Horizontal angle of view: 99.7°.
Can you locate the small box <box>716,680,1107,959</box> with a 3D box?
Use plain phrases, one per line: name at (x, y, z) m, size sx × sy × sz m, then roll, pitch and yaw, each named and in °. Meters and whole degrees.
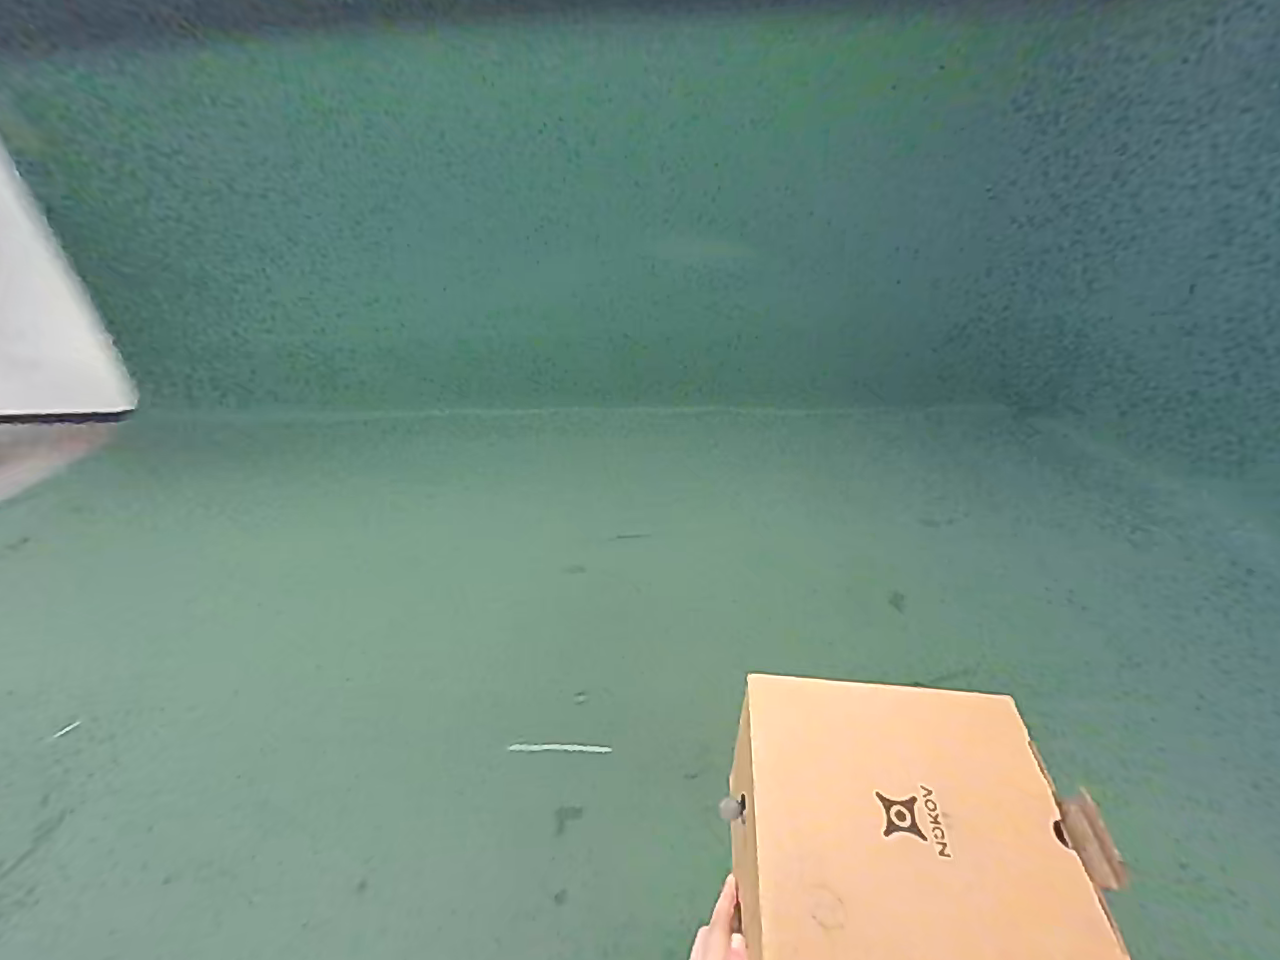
small box at (0.141, 0.254, 0.354) m, size 0.179 × 0.176 × 0.168 m, roll 2°, pitch 39°, yaw 4°
